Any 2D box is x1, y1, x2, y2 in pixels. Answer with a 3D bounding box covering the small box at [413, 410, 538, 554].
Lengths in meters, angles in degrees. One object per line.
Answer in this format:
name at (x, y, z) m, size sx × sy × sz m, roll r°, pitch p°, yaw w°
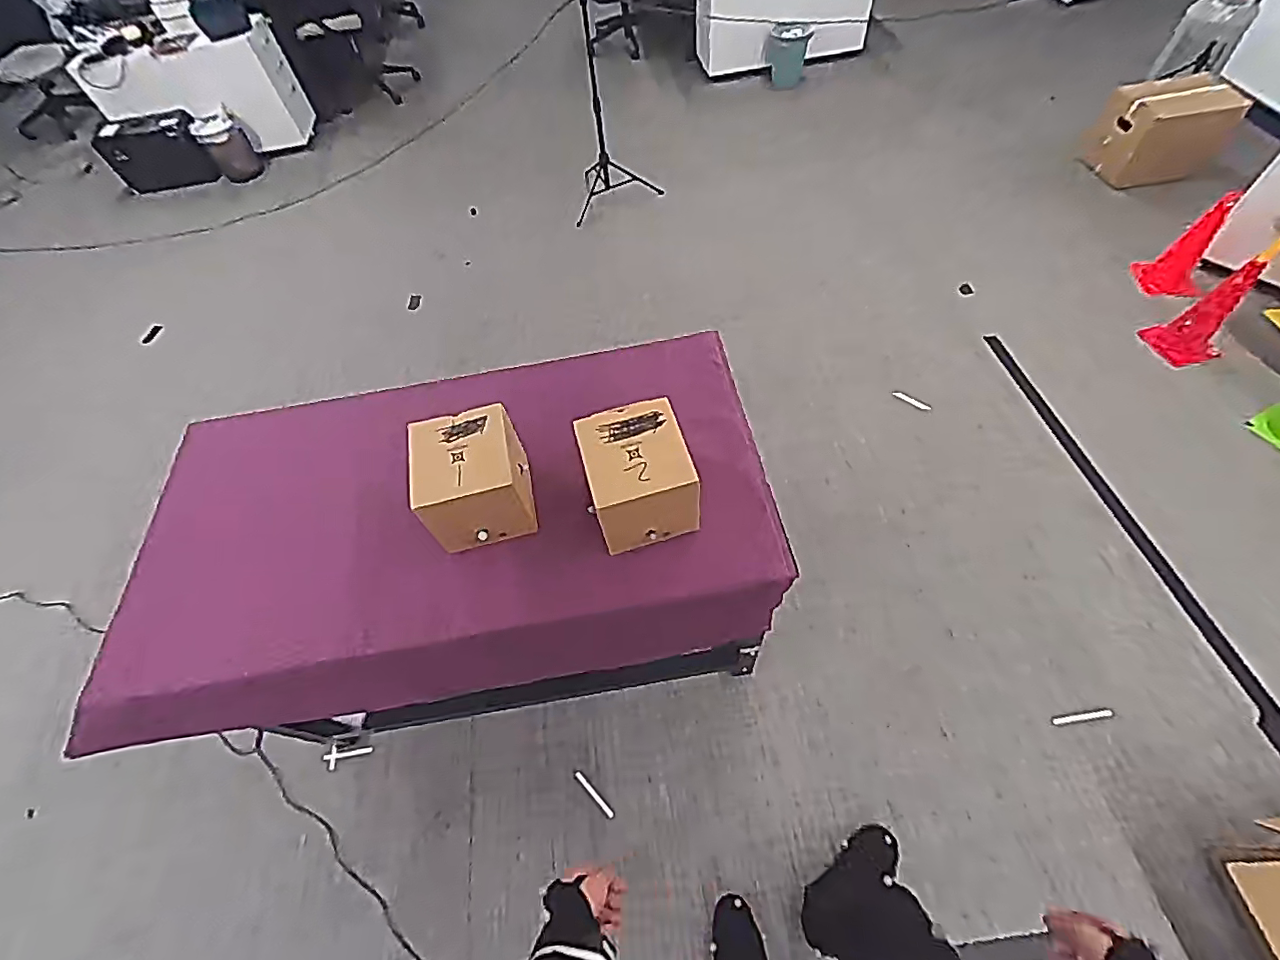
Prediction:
small box at (-0.290, 0.007, 0.967) m, size 0.168 × 0.176 × 0.179 m, roll -15°, pitch 57°, yaw -3°
